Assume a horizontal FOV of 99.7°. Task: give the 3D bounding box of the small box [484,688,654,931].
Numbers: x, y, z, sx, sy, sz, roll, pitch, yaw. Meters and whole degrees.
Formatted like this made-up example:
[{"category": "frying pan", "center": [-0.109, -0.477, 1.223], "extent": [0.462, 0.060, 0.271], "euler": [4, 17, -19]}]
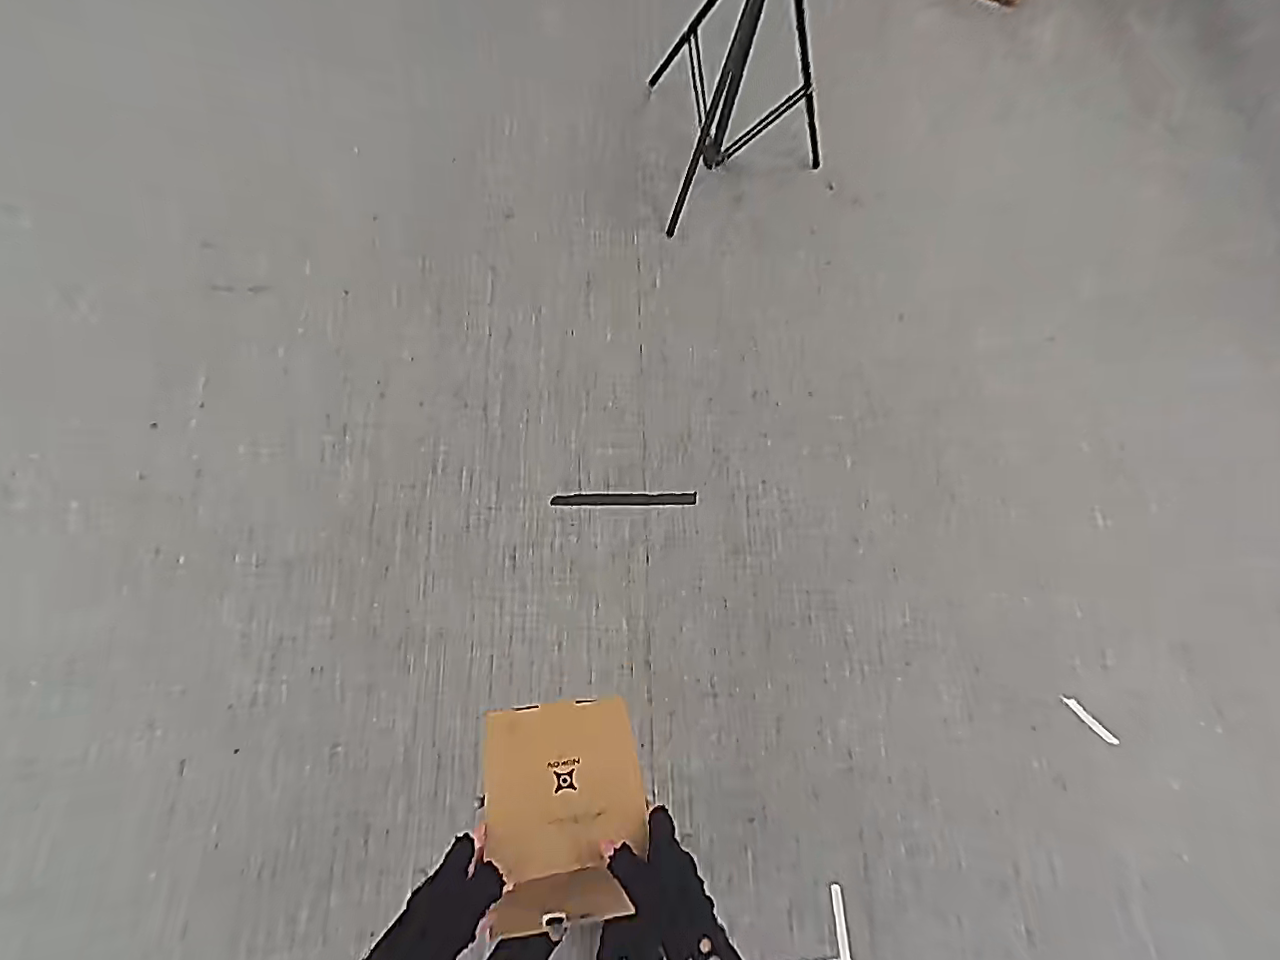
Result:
[{"category": "small box", "center": [-0.090, 0.373, 0.626], "extent": [0.168, 0.176, 0.179], "euler": [-2, 36, -13]}]
